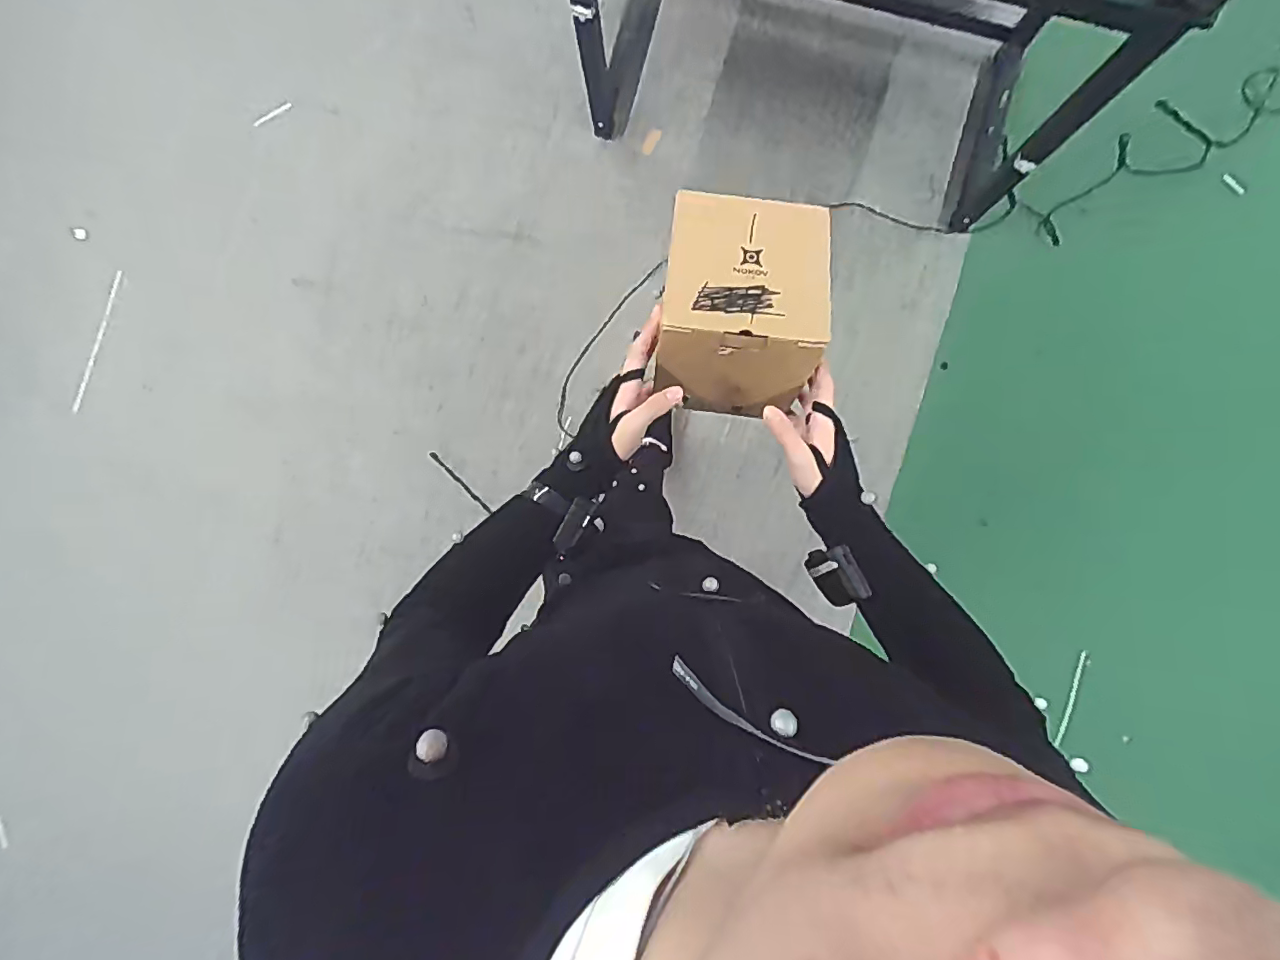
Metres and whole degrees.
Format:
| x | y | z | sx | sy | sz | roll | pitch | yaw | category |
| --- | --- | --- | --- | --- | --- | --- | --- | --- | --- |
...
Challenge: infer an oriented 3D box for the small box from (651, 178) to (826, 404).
| x | y | z | sx | sy | sz | roll | pitch | yaw | category |
| --- | --- | --- | --- | --- | --- | --- | --- | --- | --- |
| 0.104 | -0.205 | 0.621 | 0.168 | 0.176 | 0.179 | 7 | 70 | 1 | small box |
